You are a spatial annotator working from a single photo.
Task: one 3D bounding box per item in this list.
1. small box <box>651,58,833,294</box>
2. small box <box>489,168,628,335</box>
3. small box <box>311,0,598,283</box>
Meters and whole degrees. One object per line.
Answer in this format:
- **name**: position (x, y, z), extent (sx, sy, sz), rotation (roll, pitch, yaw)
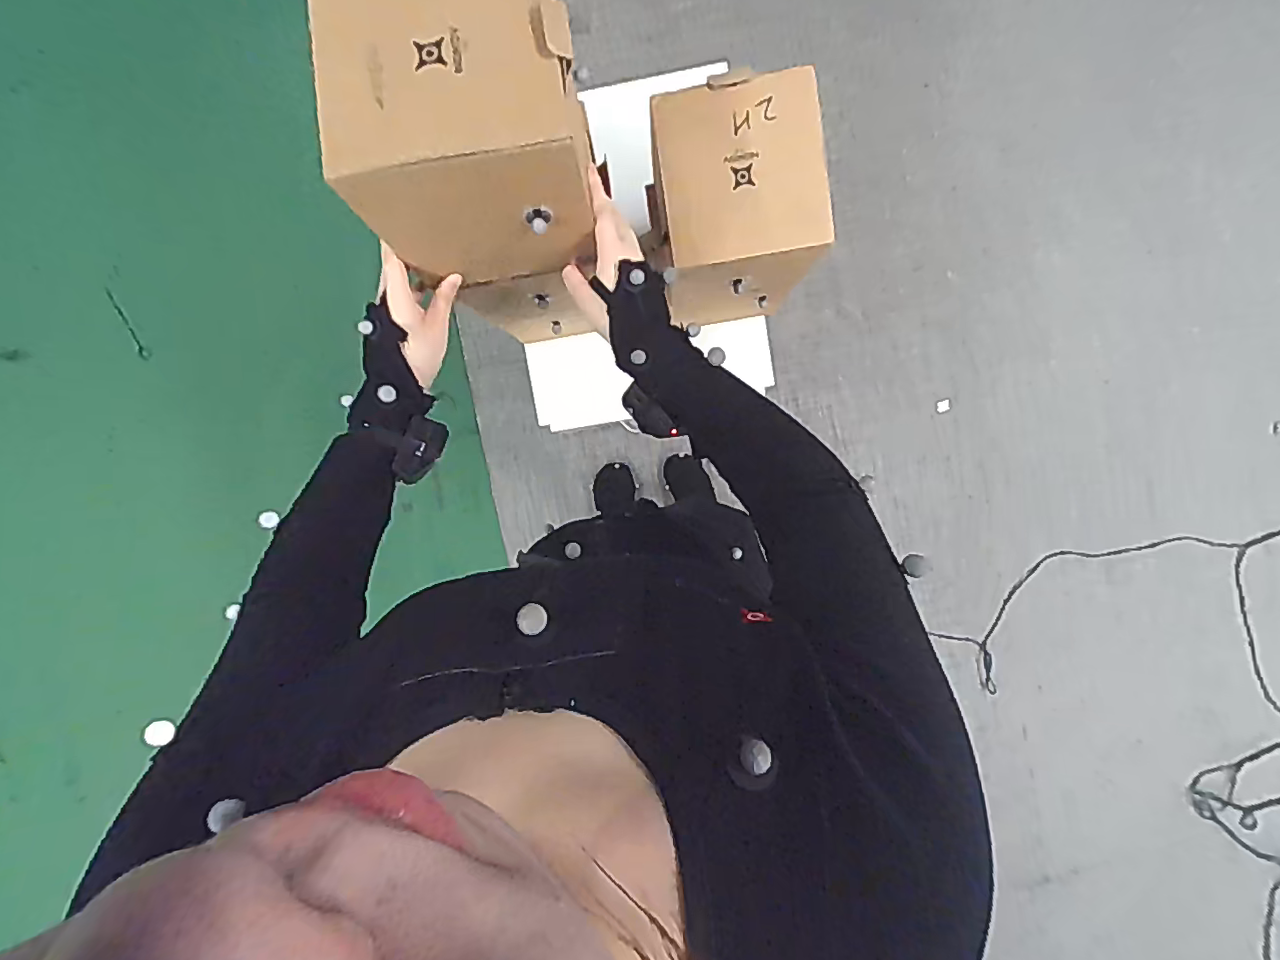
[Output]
- **small box**: position (0.107, -0.323, 0.617), extent (0.168, 0.176, 0.179), rotation (-8, 95, 3)
- **small box**: position (-0.118, -0.320, 0.793), extent (0.179, 0.176, 0.168), rotation (-10, 96, 2)
- **small box**: position (-0.134, -0.289, 0.453), extent (0.179, 0.176, 0.168), rotation (-9, 84, 3)
